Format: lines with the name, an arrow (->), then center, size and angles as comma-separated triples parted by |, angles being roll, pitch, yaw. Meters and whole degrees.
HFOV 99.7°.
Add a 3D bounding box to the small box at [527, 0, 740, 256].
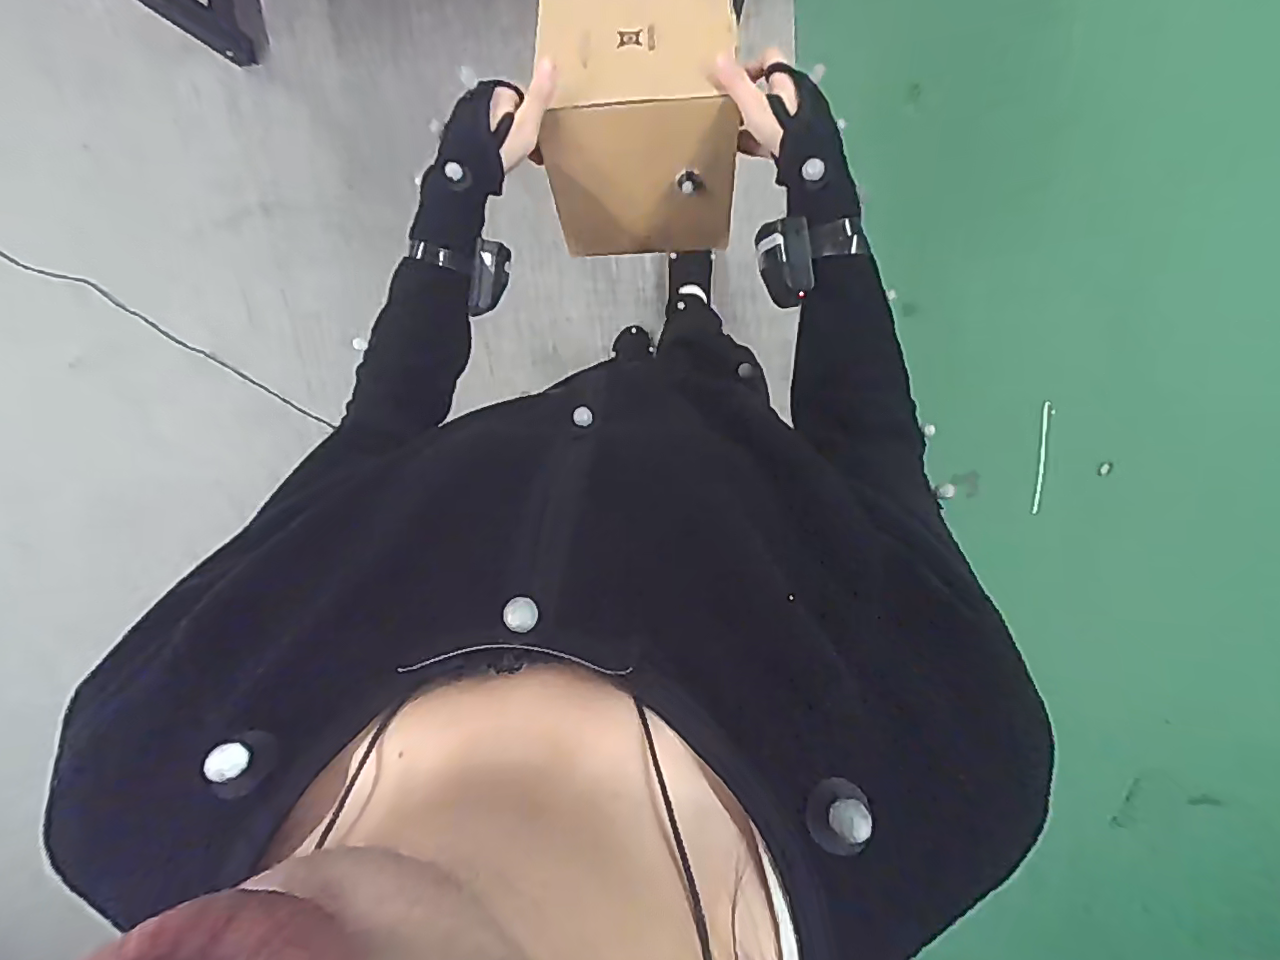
small box -> 0.001, -0.349, 0.539 | 0.179, 0.176, 0.168 | -2, 69, 5
